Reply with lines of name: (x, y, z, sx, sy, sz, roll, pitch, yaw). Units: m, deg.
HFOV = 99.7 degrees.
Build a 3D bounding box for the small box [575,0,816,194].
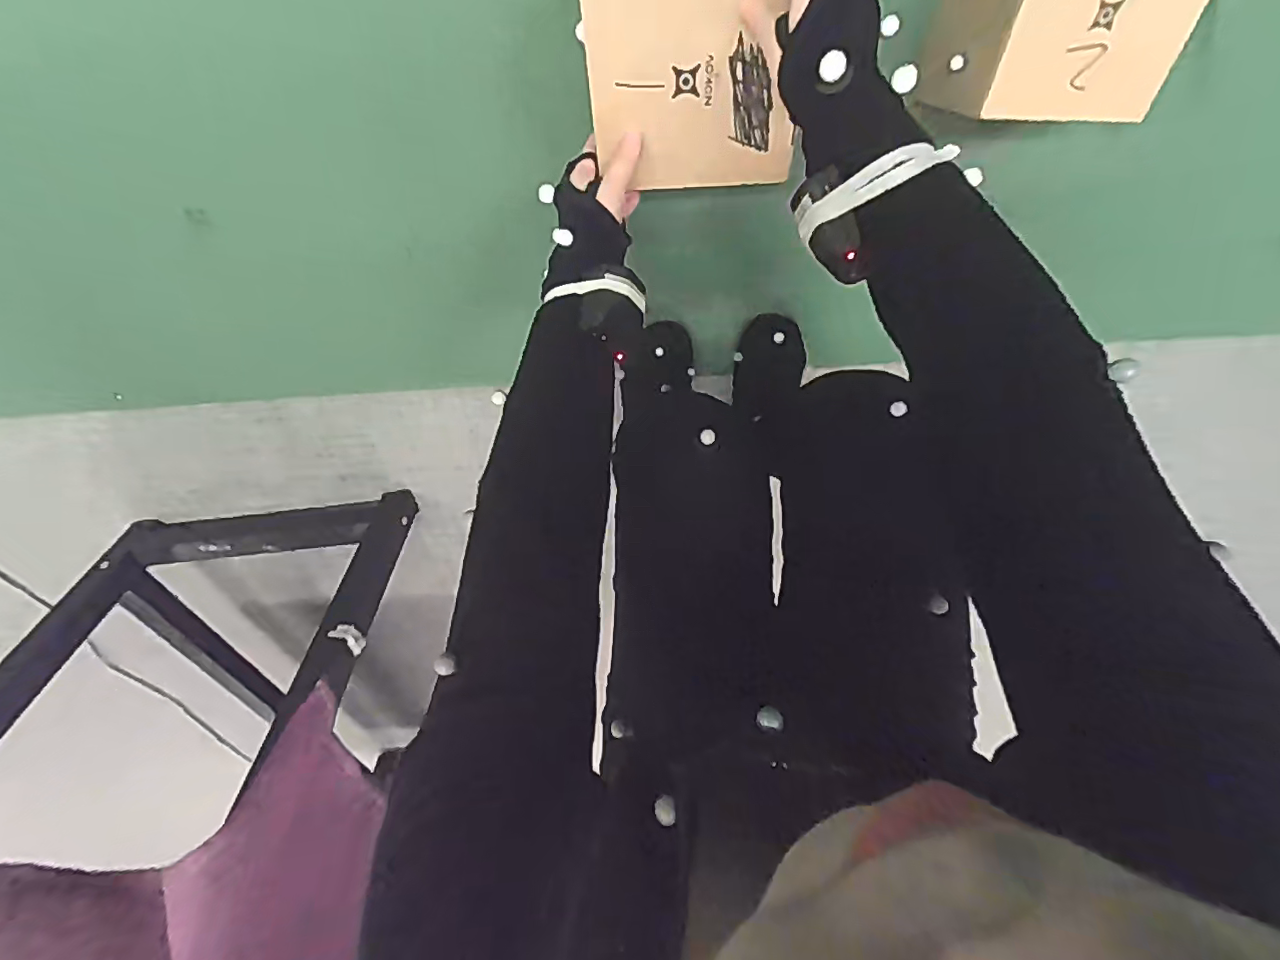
small box: (0.042, -0.381, 0.478, 0.179, 0.176, 0.168, -1, 146, 3)
